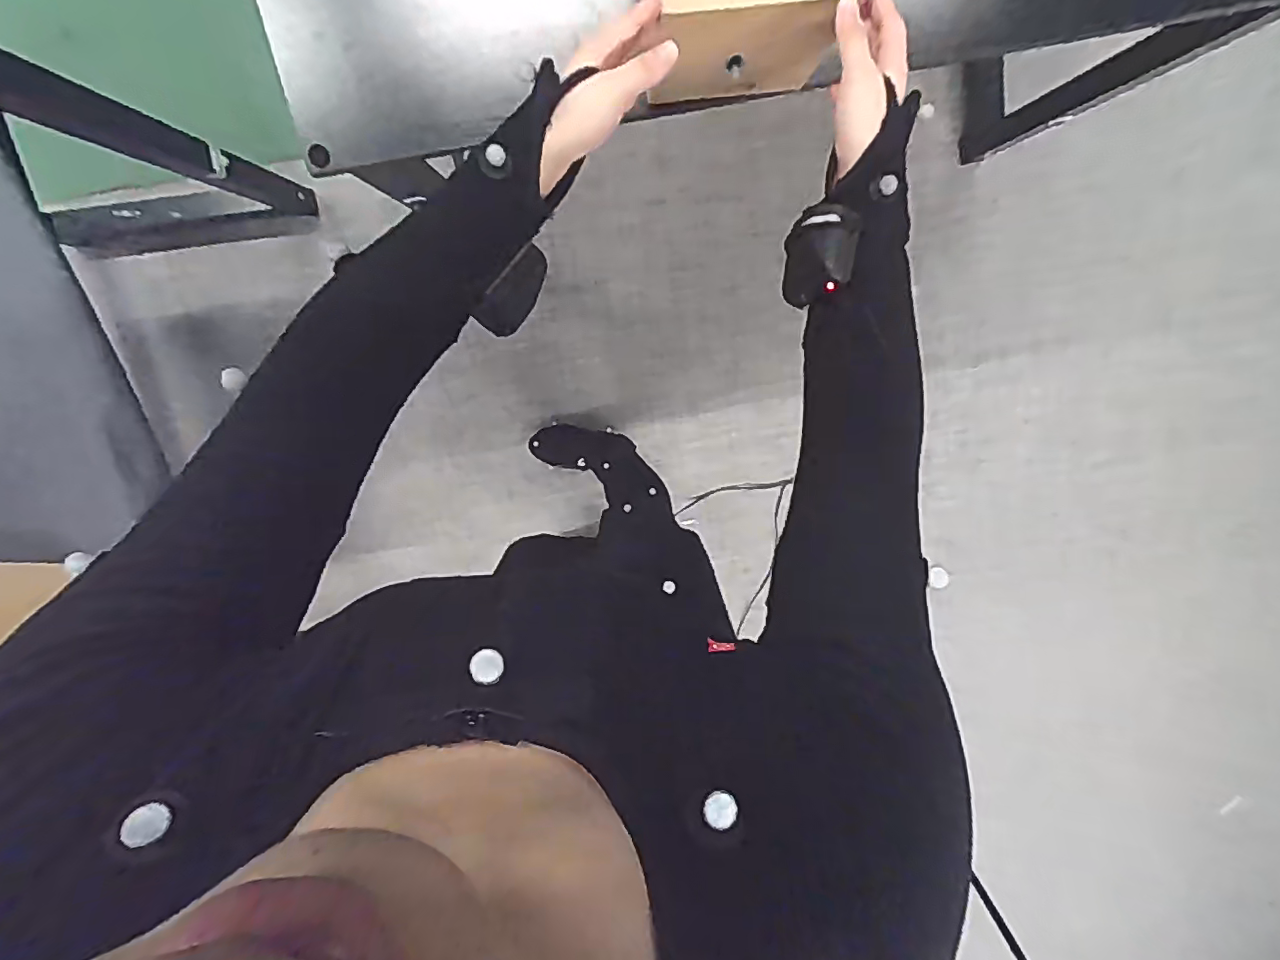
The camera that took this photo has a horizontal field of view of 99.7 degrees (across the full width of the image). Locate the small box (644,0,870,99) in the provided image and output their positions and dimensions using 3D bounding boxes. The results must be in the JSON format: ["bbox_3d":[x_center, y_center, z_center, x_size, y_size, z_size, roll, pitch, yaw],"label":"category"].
[{"bbox_3d":[0.090,-0.462,0.473,0.168,0.176,0.179,-6,105,-1],"label":"small box"}]

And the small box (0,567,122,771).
[{"bbox_3d":[-0.759,0.208,0.624,0.179,0.176,0.168,1,105,-2],"label":"small box"}]
